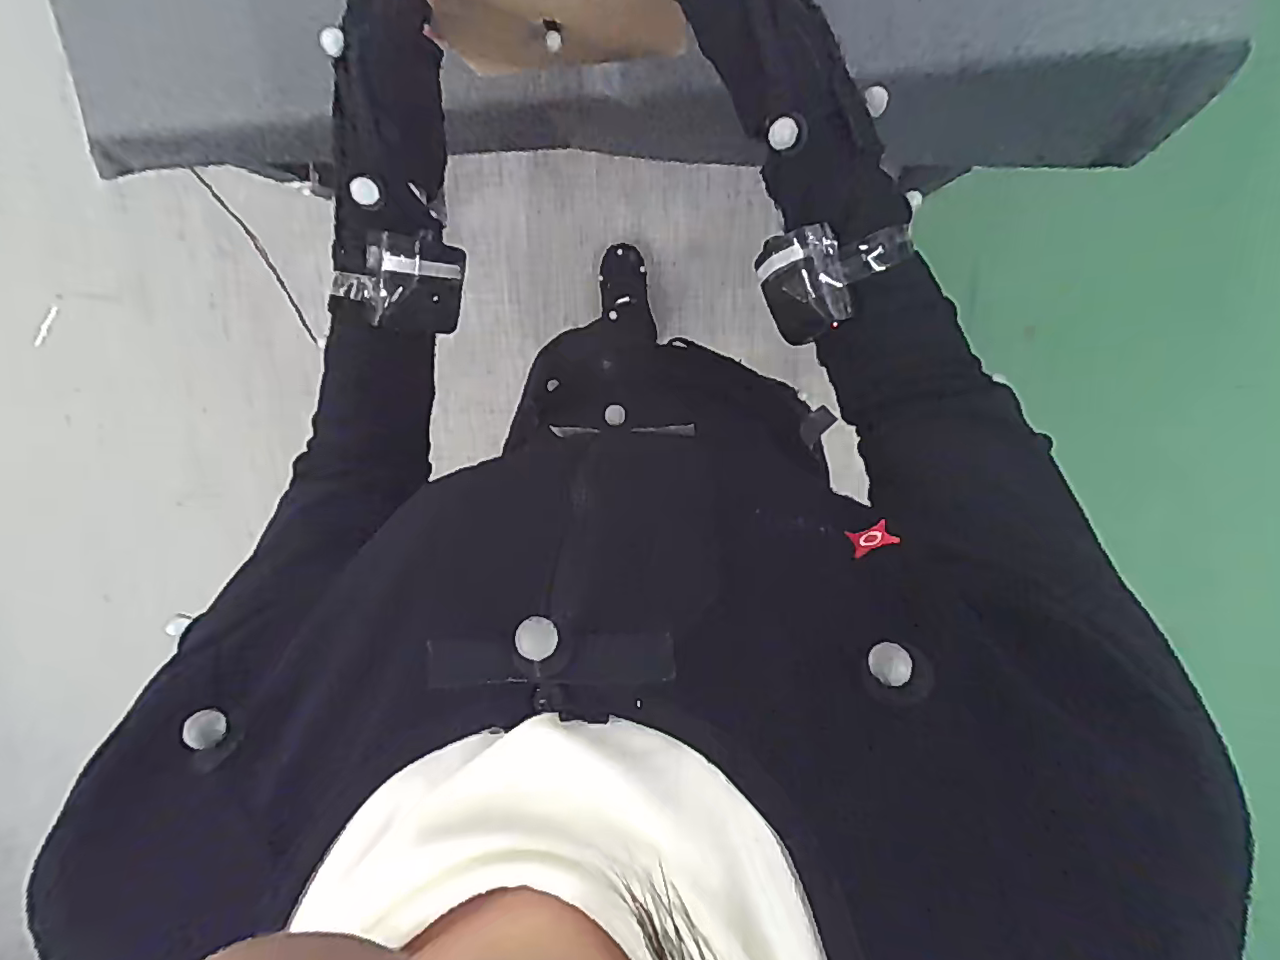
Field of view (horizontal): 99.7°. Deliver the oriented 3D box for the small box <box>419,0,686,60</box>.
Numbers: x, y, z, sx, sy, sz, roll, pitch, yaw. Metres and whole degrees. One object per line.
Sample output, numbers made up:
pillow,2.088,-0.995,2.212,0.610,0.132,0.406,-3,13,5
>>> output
small box,-0.057,-0.398,0.344,0.179,0.176,0.168,-3,113,5
